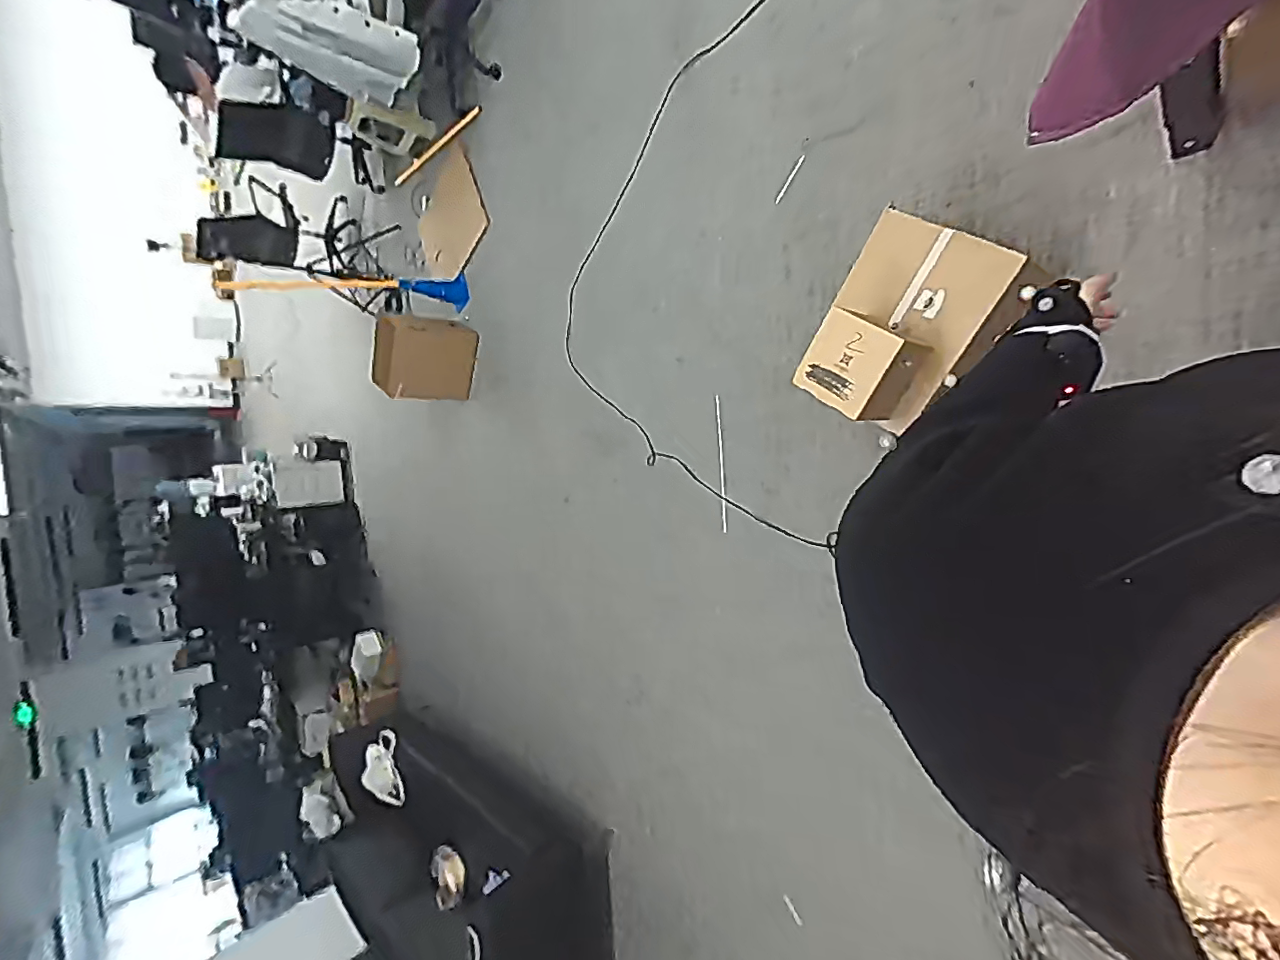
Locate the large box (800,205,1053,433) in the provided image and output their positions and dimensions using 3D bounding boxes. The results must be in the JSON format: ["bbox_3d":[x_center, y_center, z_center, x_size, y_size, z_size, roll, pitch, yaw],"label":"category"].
[{"bbox_3d":[0.661,-0.357,1.277,0.320,0.320,0.408,44,124,33],"label":"large box"}]
